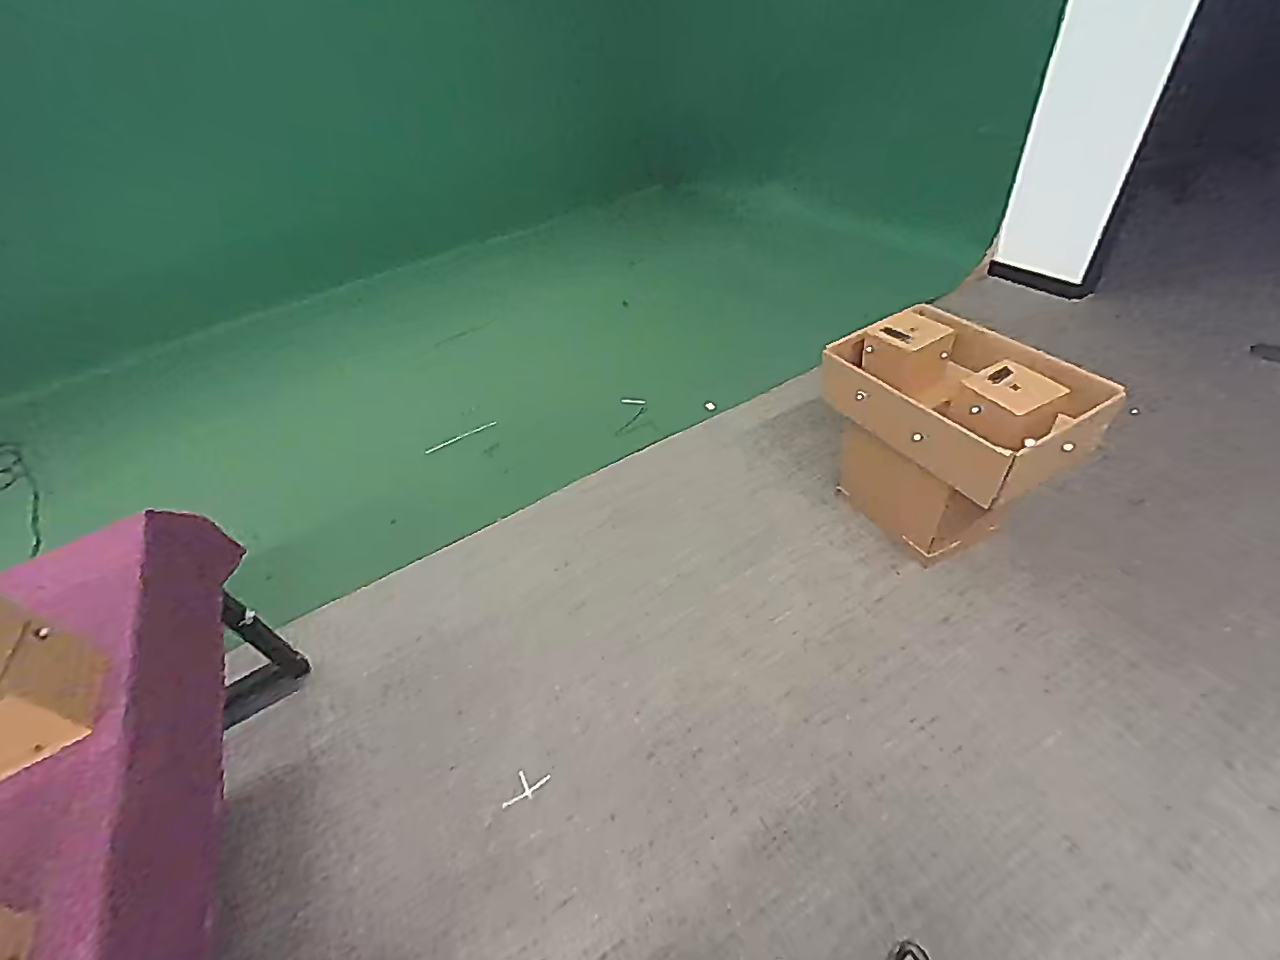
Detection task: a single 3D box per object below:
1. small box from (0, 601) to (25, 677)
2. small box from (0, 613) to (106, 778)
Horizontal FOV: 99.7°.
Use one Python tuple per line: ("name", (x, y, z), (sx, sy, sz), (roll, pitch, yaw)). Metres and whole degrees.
("small box", (-1.053, 0.246, 0.763), (0.168, 0.176, 0.179), (-25, 46, -13))
("small box", (-1.033, 0.359, 0.881), (0.168, 0.176, 0.179), (-29, 46, -16))
